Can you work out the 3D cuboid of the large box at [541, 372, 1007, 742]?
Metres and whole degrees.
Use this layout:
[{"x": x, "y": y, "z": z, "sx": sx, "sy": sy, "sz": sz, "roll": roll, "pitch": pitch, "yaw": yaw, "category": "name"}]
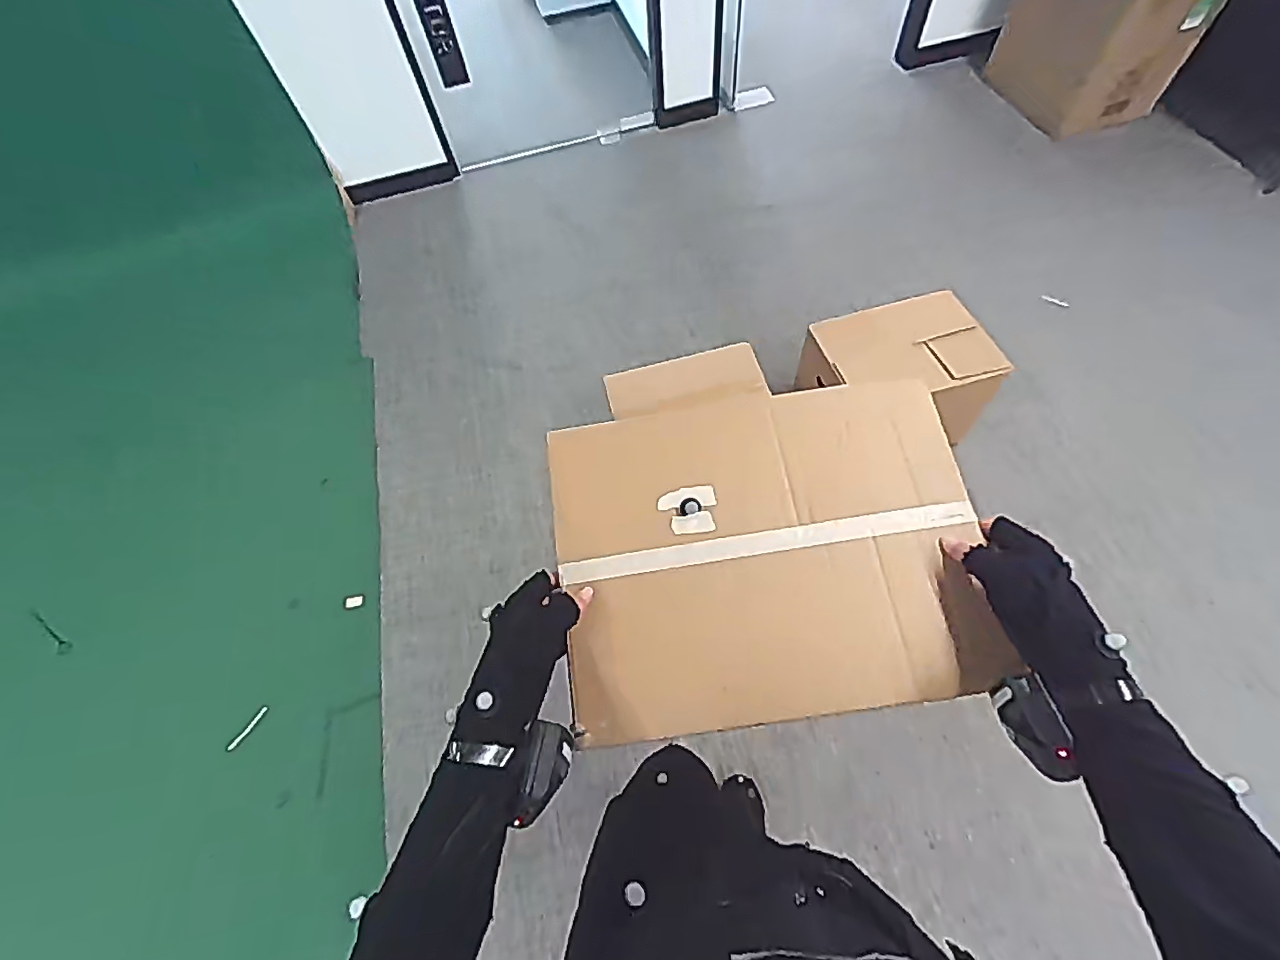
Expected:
[{"x": 0.123, "y": 0.106, "z": 0.669, "sx": 0.408, "sy": 0.320, "sz": 0.320, "roll": -9, "pitch": 71, "yaw": 2, "category": "large box"}]
